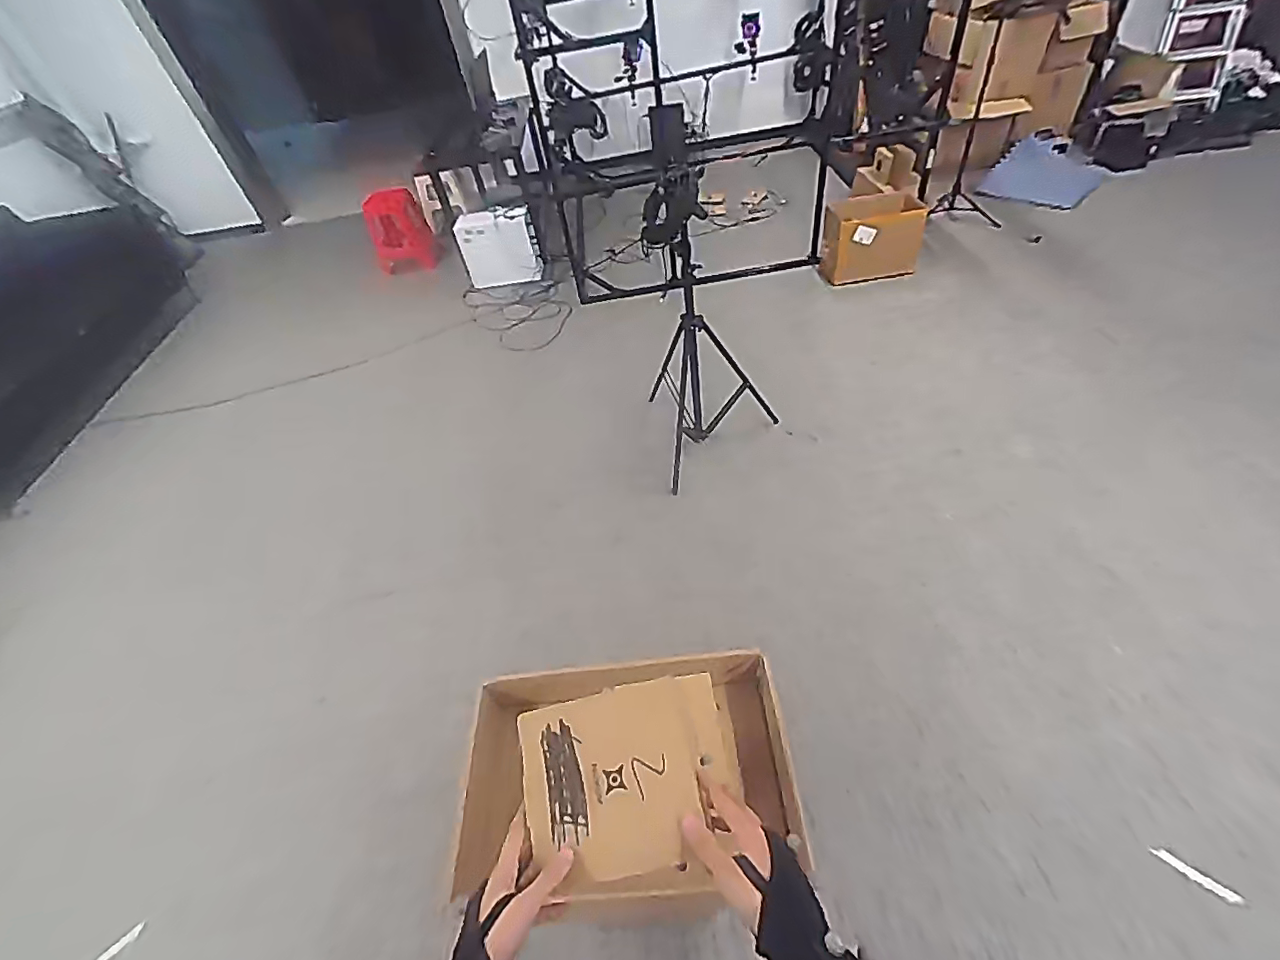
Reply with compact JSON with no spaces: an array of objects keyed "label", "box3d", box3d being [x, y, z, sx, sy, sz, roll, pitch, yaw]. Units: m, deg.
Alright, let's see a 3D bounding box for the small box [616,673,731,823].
[{"label":"small box","box3d":[0.056,0.452,0.910,0.168,0.176,0.179,-10,47,3]}]
